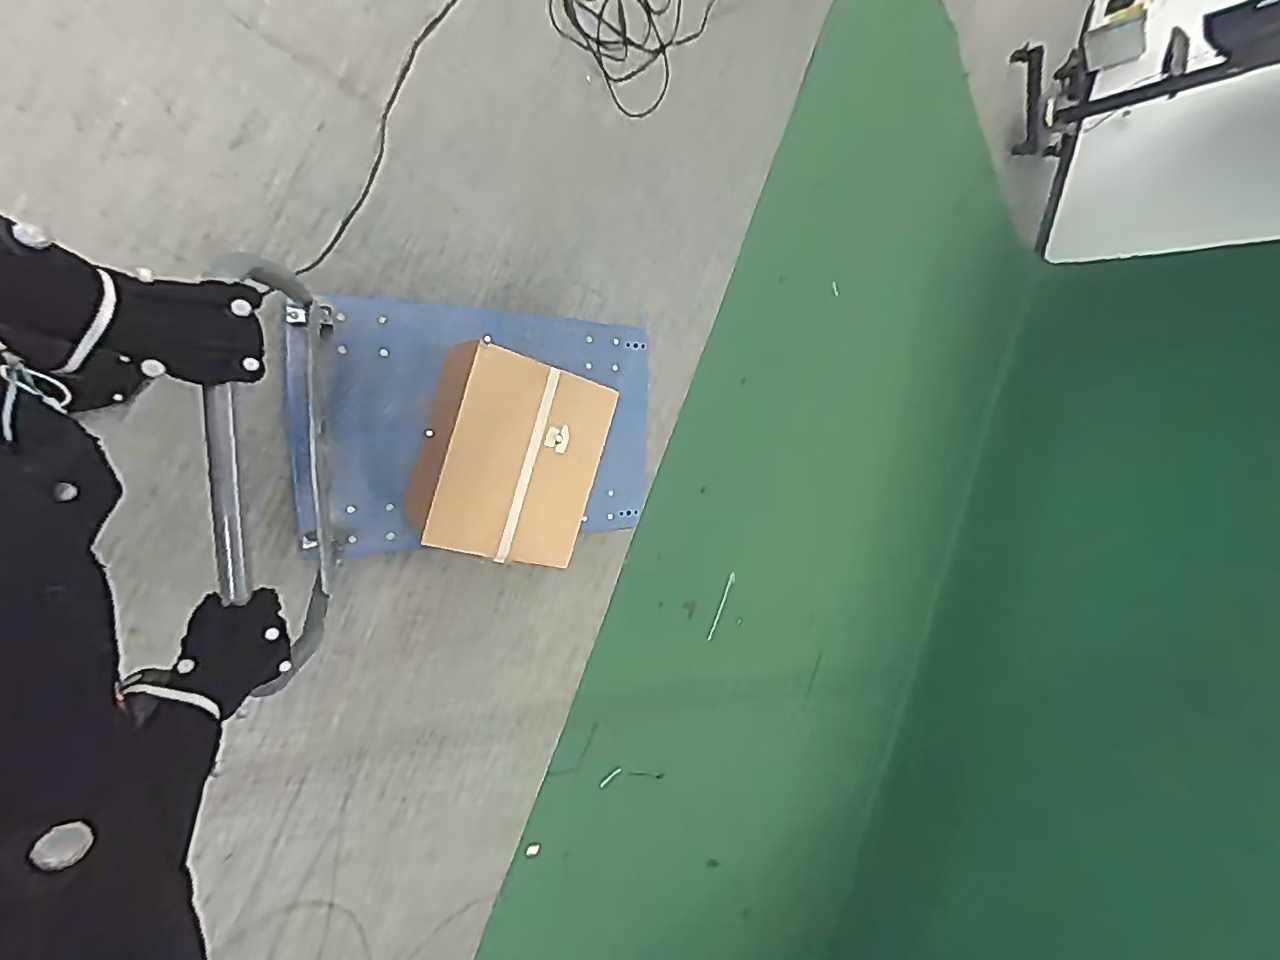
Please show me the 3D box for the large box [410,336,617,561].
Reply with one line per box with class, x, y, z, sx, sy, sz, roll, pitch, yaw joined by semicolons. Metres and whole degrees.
large box;-0.299;-0.068;1.221;0.320;0.320;0.408;16;91;-31
